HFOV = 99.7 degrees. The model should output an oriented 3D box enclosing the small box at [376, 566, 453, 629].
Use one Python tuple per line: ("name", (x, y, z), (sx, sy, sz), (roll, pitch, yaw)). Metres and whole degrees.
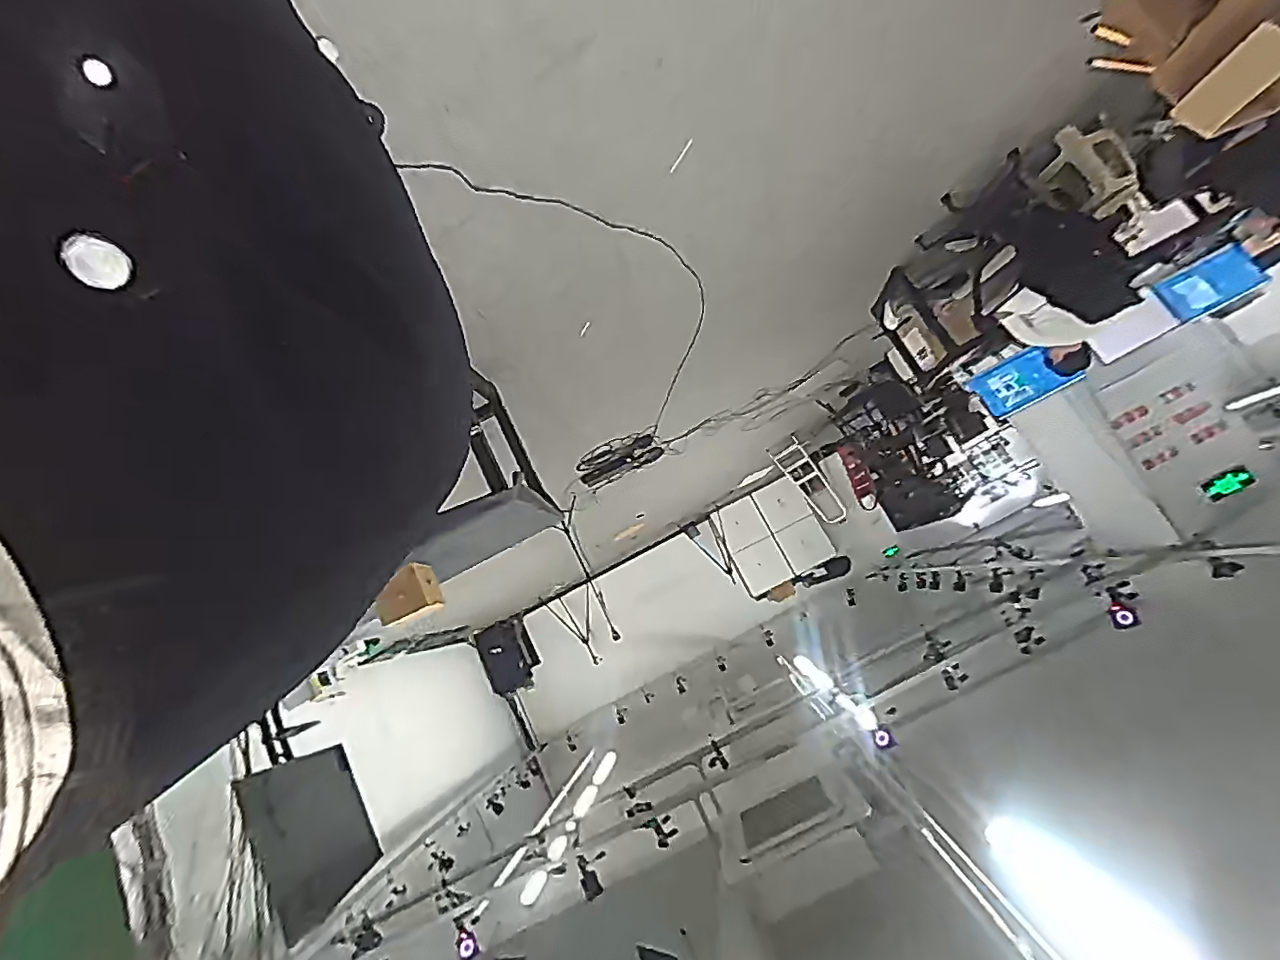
("small box", (-0.822, 0.423, 1.972), (0.179, 0.176, 0.168), (-27, 168, 0))
